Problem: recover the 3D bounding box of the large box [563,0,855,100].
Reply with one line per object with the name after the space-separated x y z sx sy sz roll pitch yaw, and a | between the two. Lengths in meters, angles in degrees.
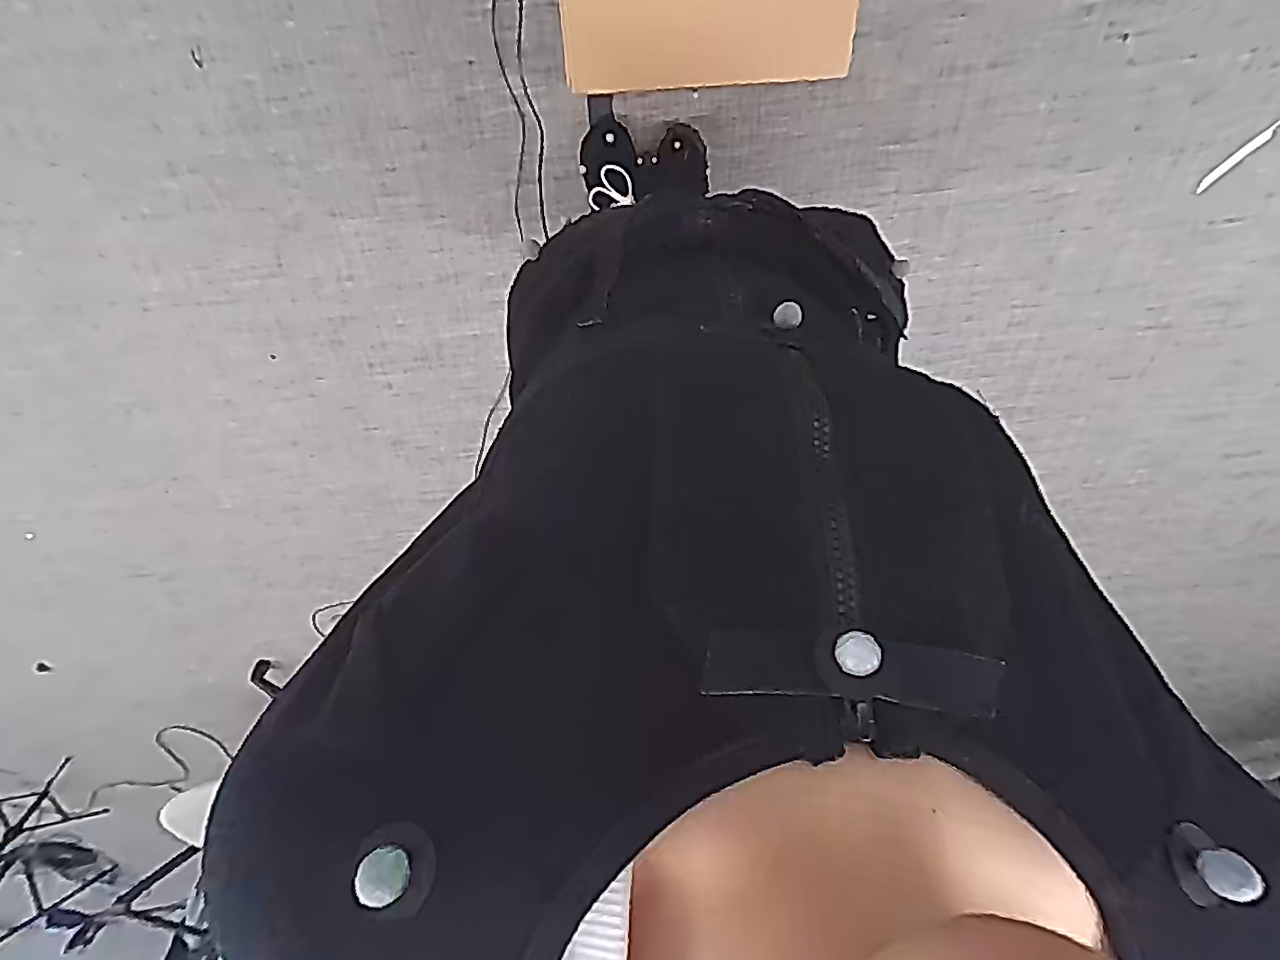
0.085 -0.781 0.817 0.408 0.320 0.320 -4 127 0 | large box
